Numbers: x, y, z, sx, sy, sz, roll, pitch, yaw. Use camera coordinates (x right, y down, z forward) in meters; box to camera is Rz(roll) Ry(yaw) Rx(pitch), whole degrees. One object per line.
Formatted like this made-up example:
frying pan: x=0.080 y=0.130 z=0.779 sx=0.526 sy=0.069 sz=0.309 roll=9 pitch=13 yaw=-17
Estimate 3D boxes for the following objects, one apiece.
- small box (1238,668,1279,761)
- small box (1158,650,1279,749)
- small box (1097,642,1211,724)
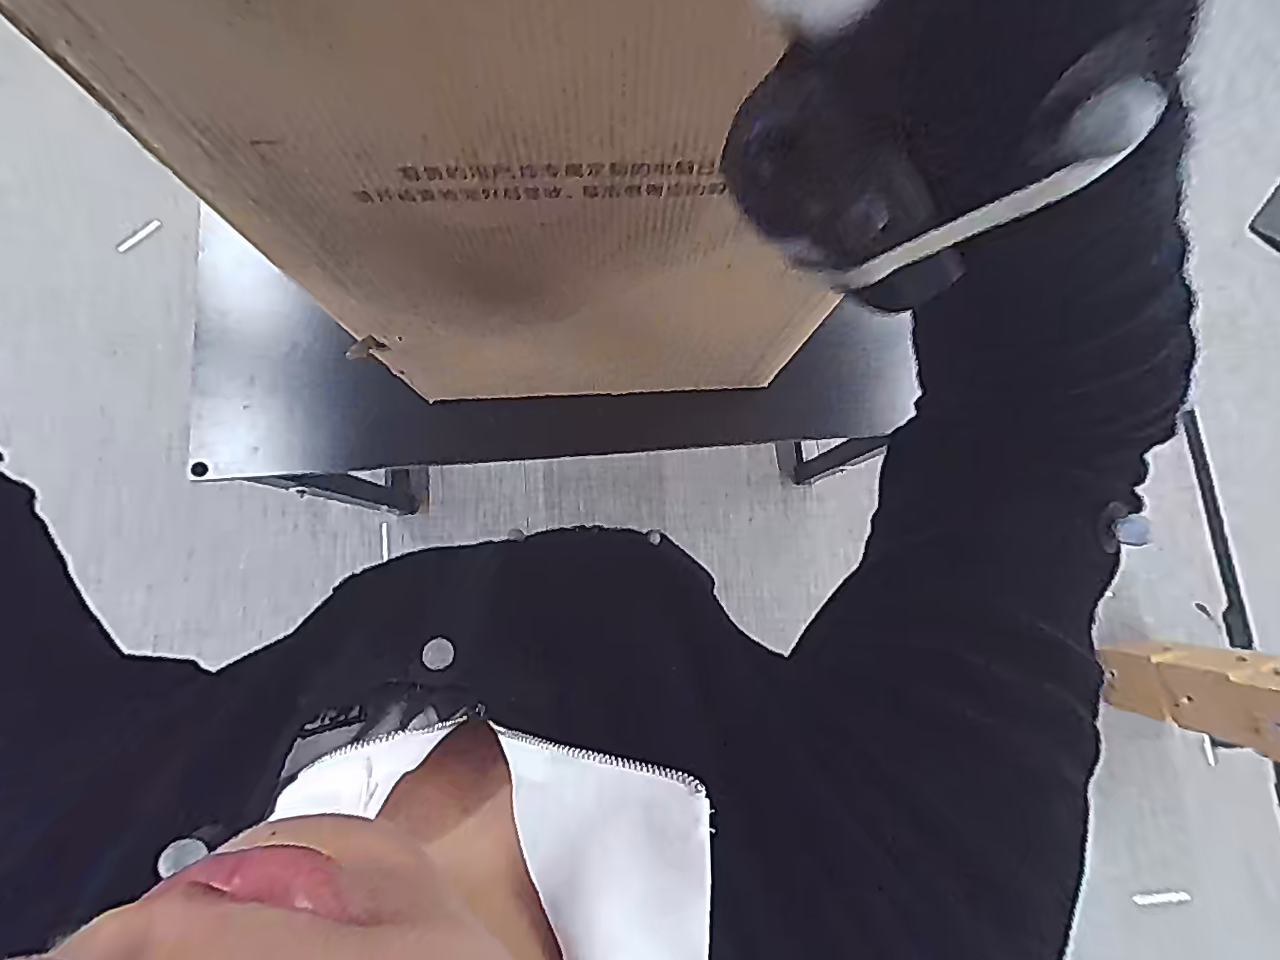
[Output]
small box: x=1.420 y=0.497 z=1.124 sx=0.179 sy=0.176 sz=0.168 roll=-14 pitch=81 yaw=-5
small box: x=1.415 y=0.512 z=1.288 sx=0.179 sy=0.176 sz=0.168 roll=-12 pitch=80 yaw=-5
small box: x=1.393 y=0.537 z=1.450 sx=0.179 sy=0.176 sz=0.168 roll=-7 pitch=80 yaw=-3
